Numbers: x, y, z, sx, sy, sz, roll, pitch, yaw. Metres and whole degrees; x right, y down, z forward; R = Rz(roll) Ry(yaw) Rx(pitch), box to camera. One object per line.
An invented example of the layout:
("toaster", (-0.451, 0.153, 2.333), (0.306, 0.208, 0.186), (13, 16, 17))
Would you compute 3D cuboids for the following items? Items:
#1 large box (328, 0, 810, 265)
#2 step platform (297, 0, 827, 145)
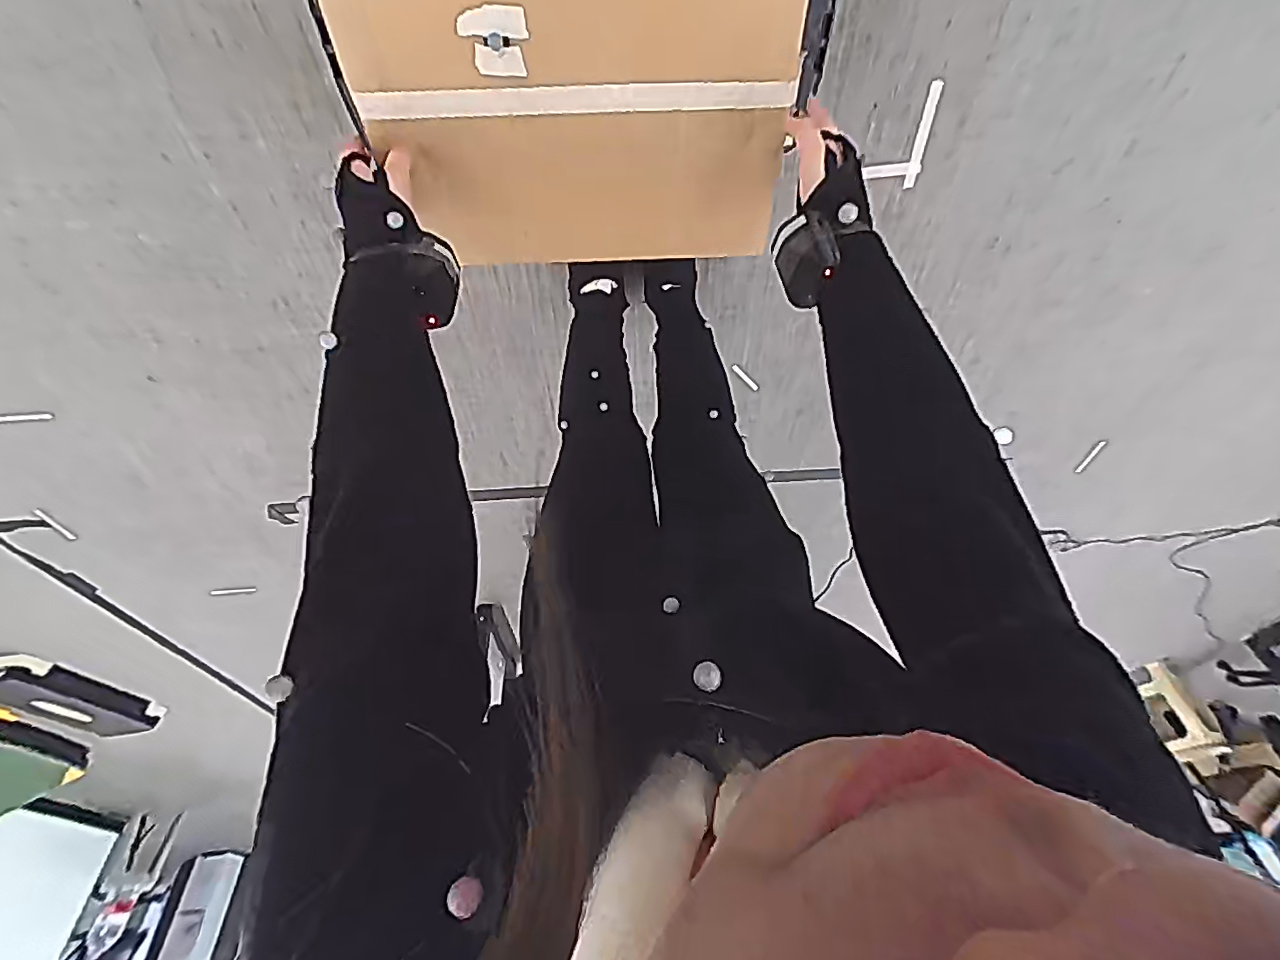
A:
("large box", (-0.061, -0.463, 0.590), (0.408, 0.320, 0.320), (-3, 137, -2))
("step platform", (-0.096, -0.627, 0.762), (0.684, 0.204, 0.286), (1, 138, -6))
